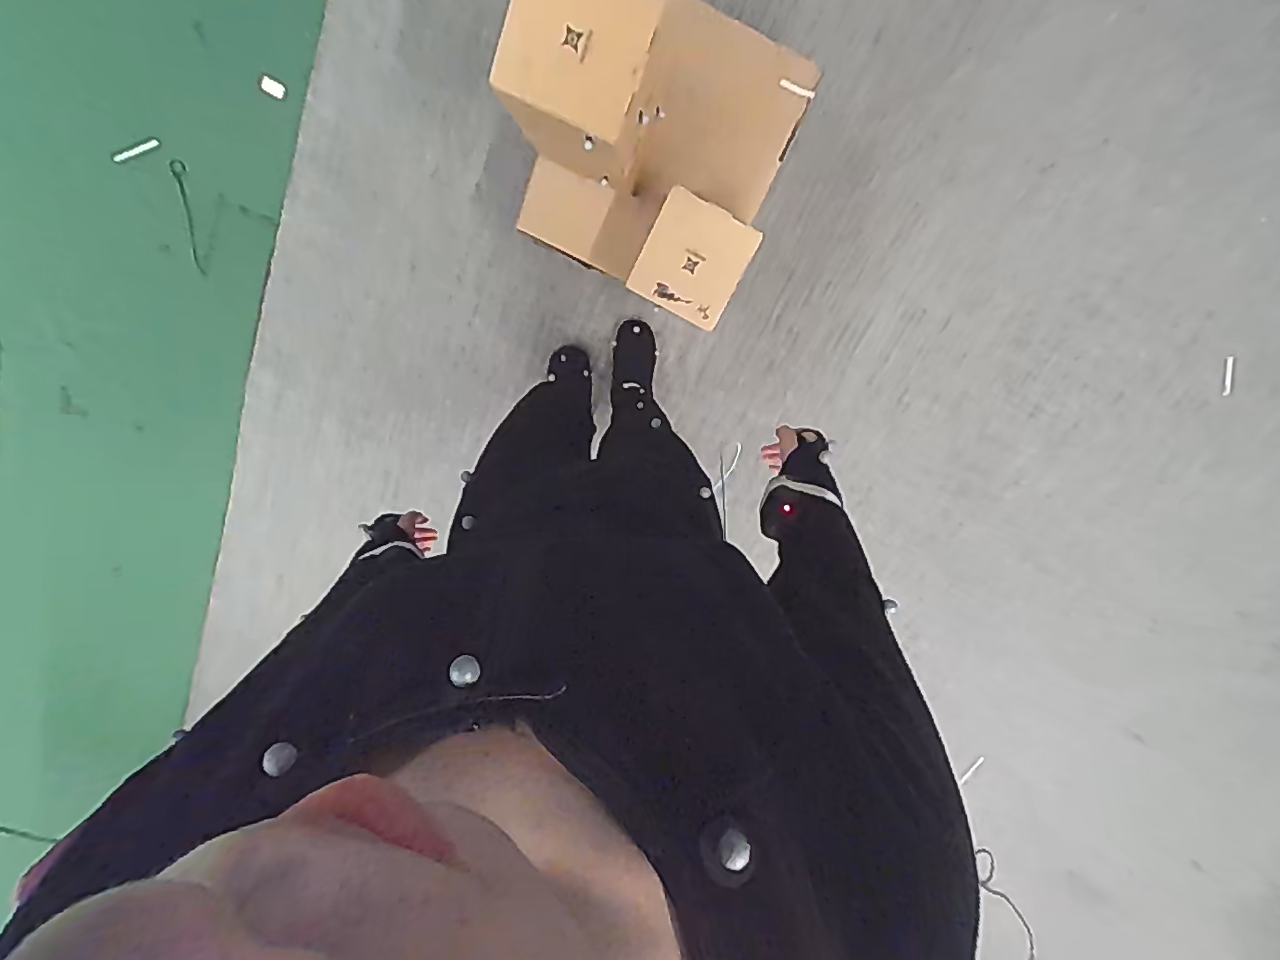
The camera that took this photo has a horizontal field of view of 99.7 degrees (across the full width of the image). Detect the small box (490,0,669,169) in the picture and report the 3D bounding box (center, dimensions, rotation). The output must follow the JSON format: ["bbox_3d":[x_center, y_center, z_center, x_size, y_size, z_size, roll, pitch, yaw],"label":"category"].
[{"bbox_3d":[-0.074,-0.551,0.728,0.179,0.176,0.168,22,107,-6],"label":"small box"}]

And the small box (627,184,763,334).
[{"bbox_3d":[0.088,-0.380,0.952,0.168,0.176,0.179,27,107,-8],"label":"small box"}]

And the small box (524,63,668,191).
[{"bbox_3d":[-0.065,-0.596,0.885,0.179,0.176,0.168,22,107,-5],"label":"small box"}]
